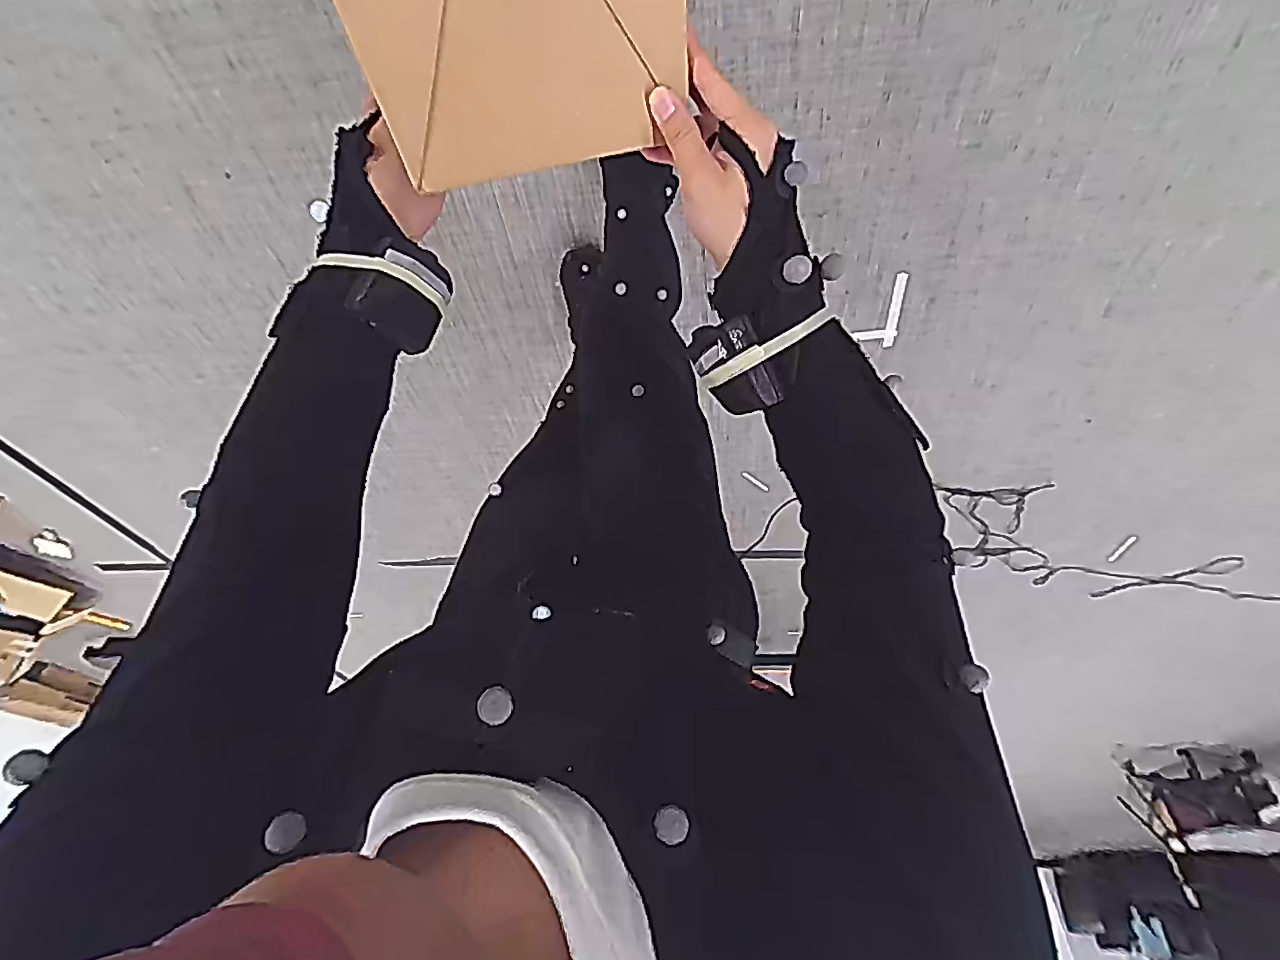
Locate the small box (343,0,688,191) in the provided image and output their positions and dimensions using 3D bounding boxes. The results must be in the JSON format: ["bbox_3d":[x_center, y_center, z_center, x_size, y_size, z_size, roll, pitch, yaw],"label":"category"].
[{"bbox_3d":[-0.074,-0.299,0.300,0.168,0.176,0.179,-14,144,-4],"label":"small box"}]
